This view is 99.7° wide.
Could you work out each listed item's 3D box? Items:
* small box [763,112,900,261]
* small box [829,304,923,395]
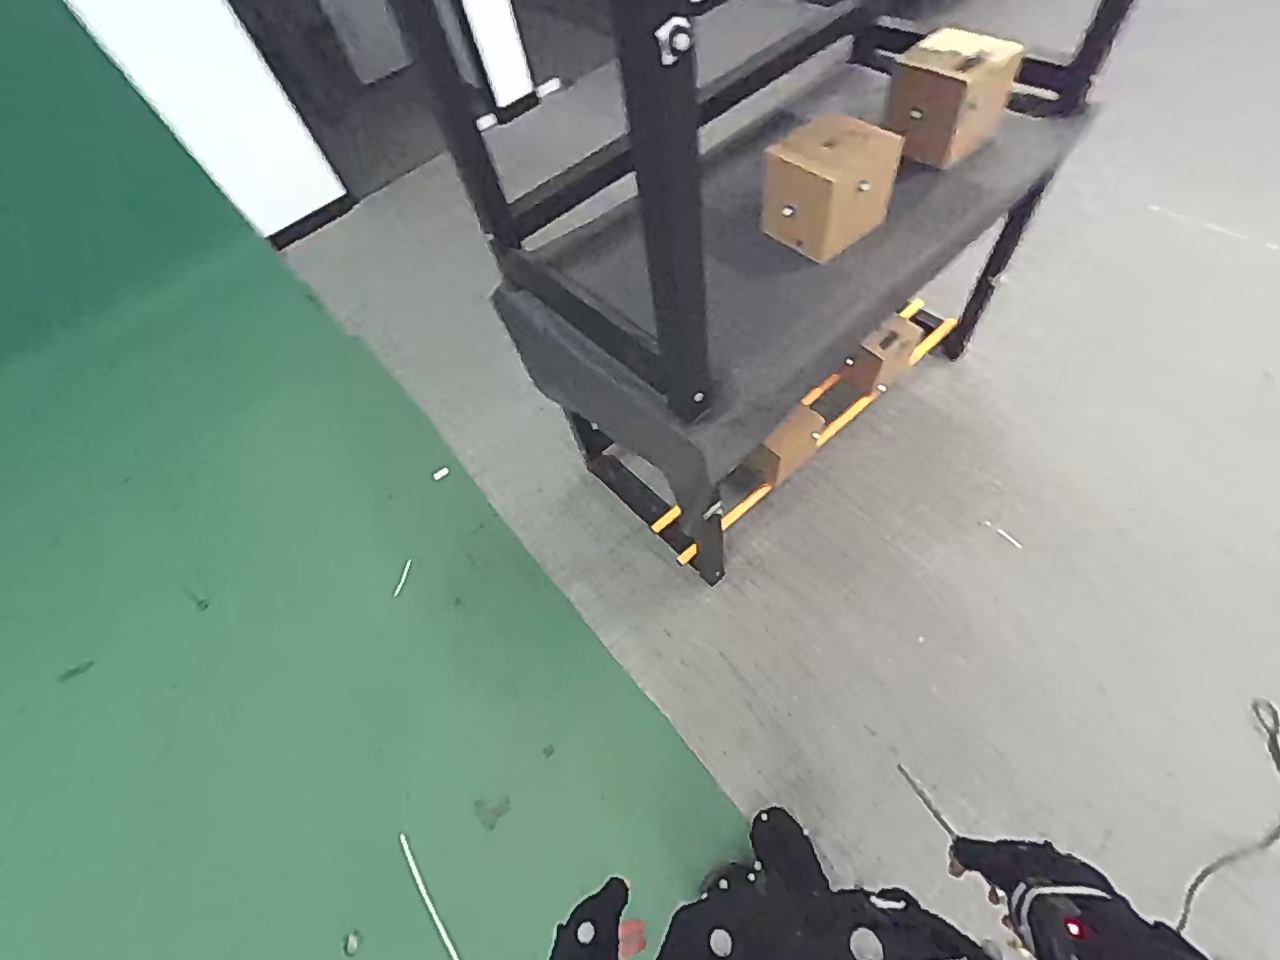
[{"bbox_3d":[0.355,-0.553,1.032,0.179,0.176,0.168,-37,60,-13],"label":"small box"},{"bbox_3d":[0.692,-0.379,1.605,0.168,0.176,0.179,-36,60,-13],"label":"small box"}]
